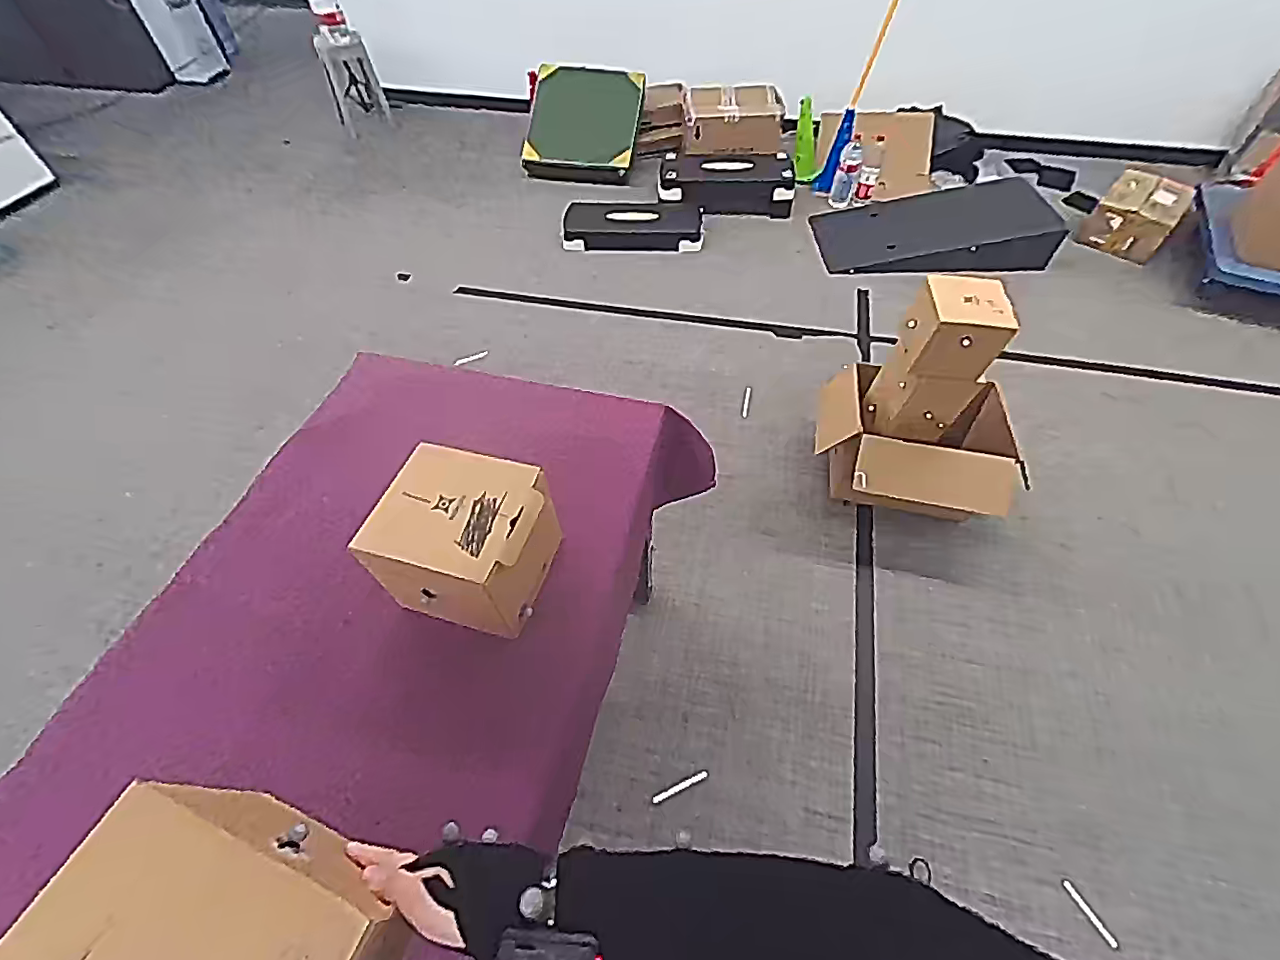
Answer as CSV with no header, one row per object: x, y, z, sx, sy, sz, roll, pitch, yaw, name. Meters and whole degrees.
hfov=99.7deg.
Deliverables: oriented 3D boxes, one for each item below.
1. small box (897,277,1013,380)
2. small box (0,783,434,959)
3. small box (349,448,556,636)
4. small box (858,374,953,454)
0.737,-0.357,1.292,0.179,0.176,0.168,6,58,1,small box
-0.259,0.315,0.340,0.179,0.176,0.168,23,58,8,small box
-0.224,0.086,0.706,0.179,0.176,0.168,12,54,11,small box
0.759,-0.190,1.577,0.179,0.176,0.168,-6,57,-7,small box
